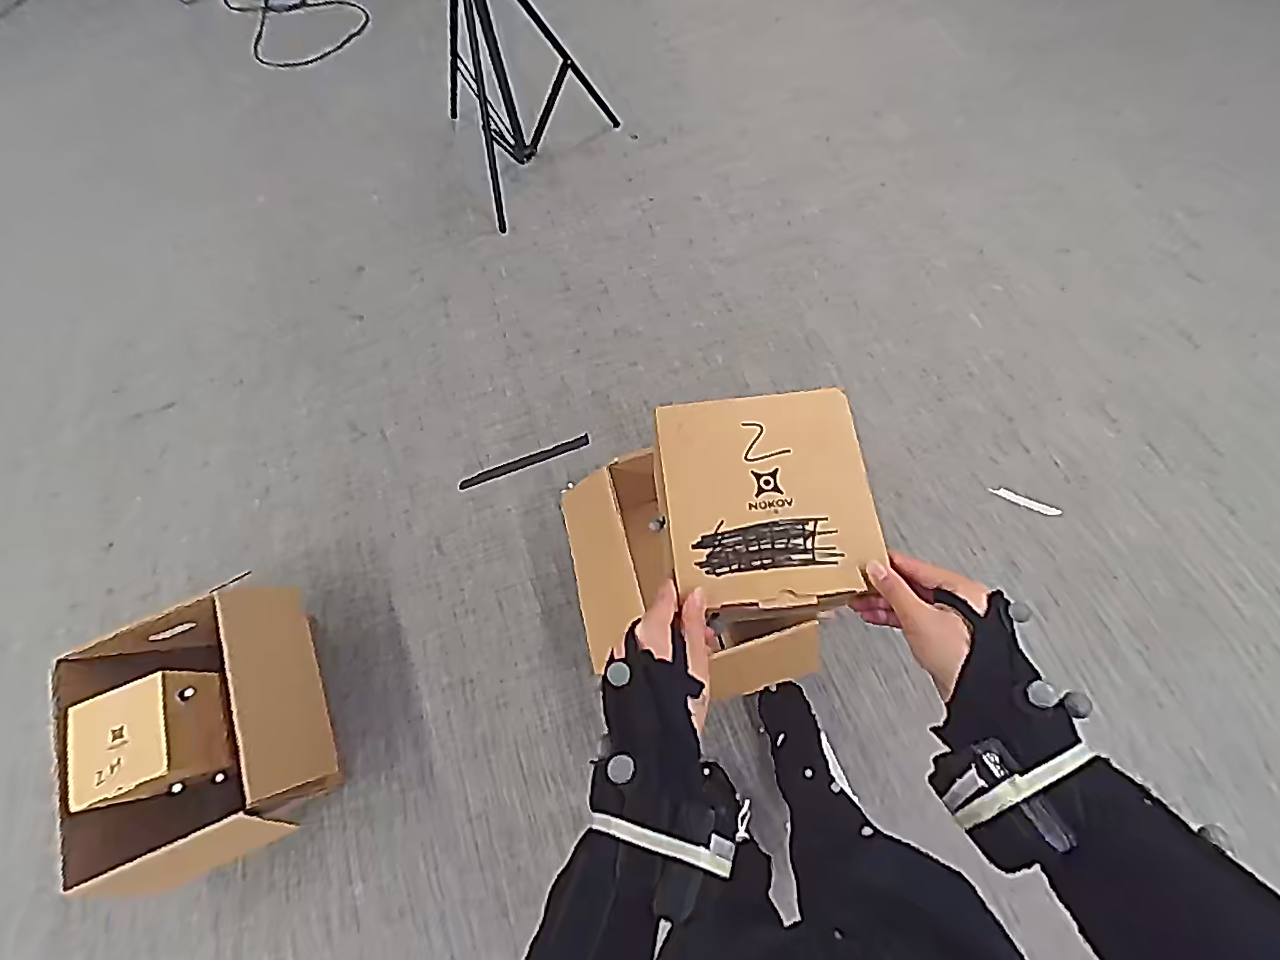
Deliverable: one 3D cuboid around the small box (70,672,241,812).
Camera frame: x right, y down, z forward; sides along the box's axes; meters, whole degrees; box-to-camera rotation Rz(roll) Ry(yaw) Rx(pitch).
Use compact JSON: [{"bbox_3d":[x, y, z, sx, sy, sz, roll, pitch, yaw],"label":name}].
[{"bbox_3d":[-0.880,0.474,0.996,0.168,0.176,0.179,-22,69,-4],"label":"small box"}]
